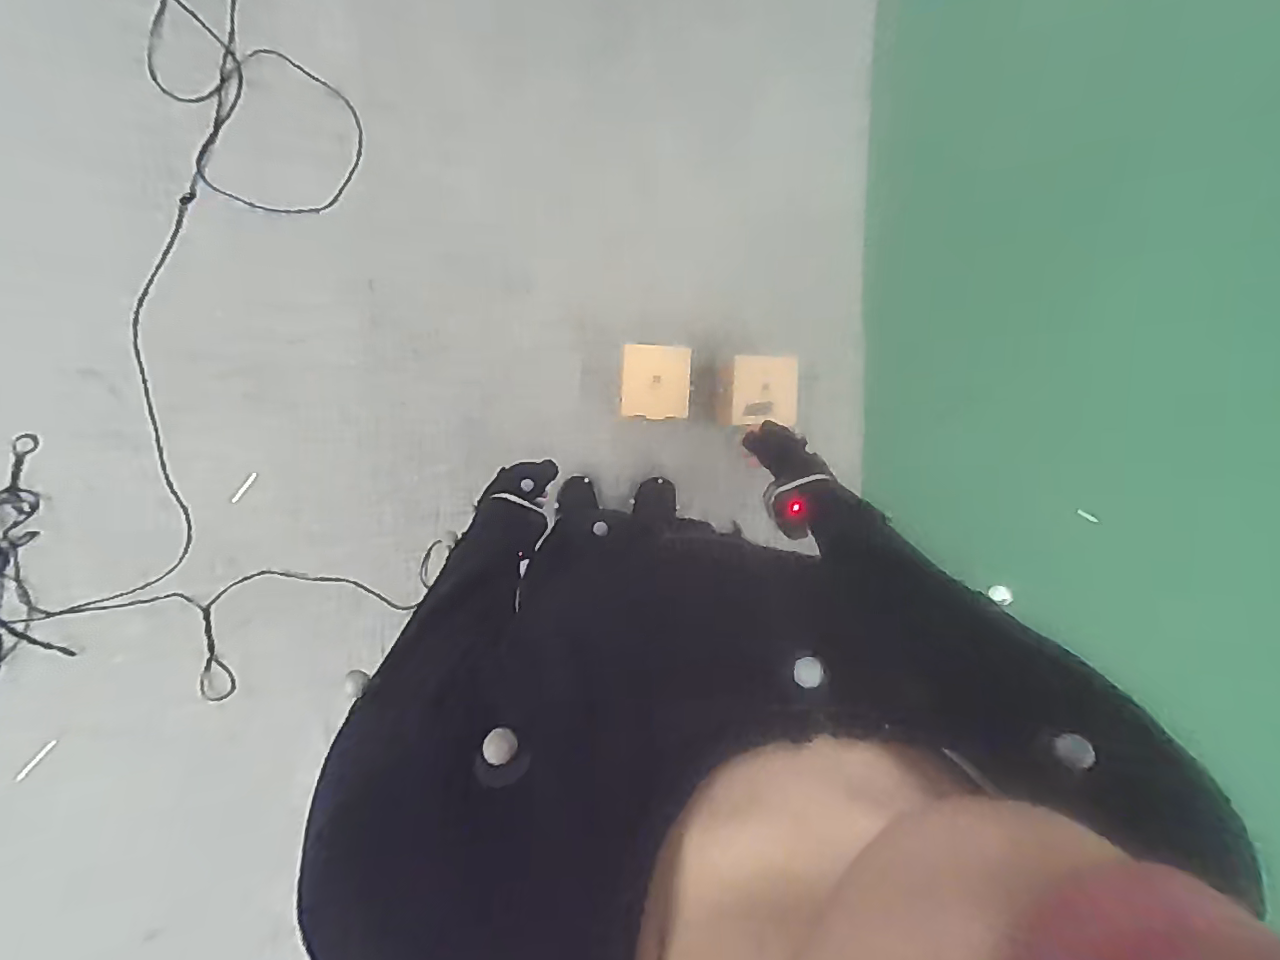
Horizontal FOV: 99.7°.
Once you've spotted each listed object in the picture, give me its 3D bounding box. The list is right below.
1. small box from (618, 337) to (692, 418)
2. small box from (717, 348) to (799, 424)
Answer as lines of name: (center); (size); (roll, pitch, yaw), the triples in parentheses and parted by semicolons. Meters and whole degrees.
small box: (0.032, -0.256, 1.381); (0.168, 0.176, 0.179); (2, 94, -5)
small box: (0.300, -0.237, 1.406); (0.168, 0.176, 0.179); (1, 93, -5)
